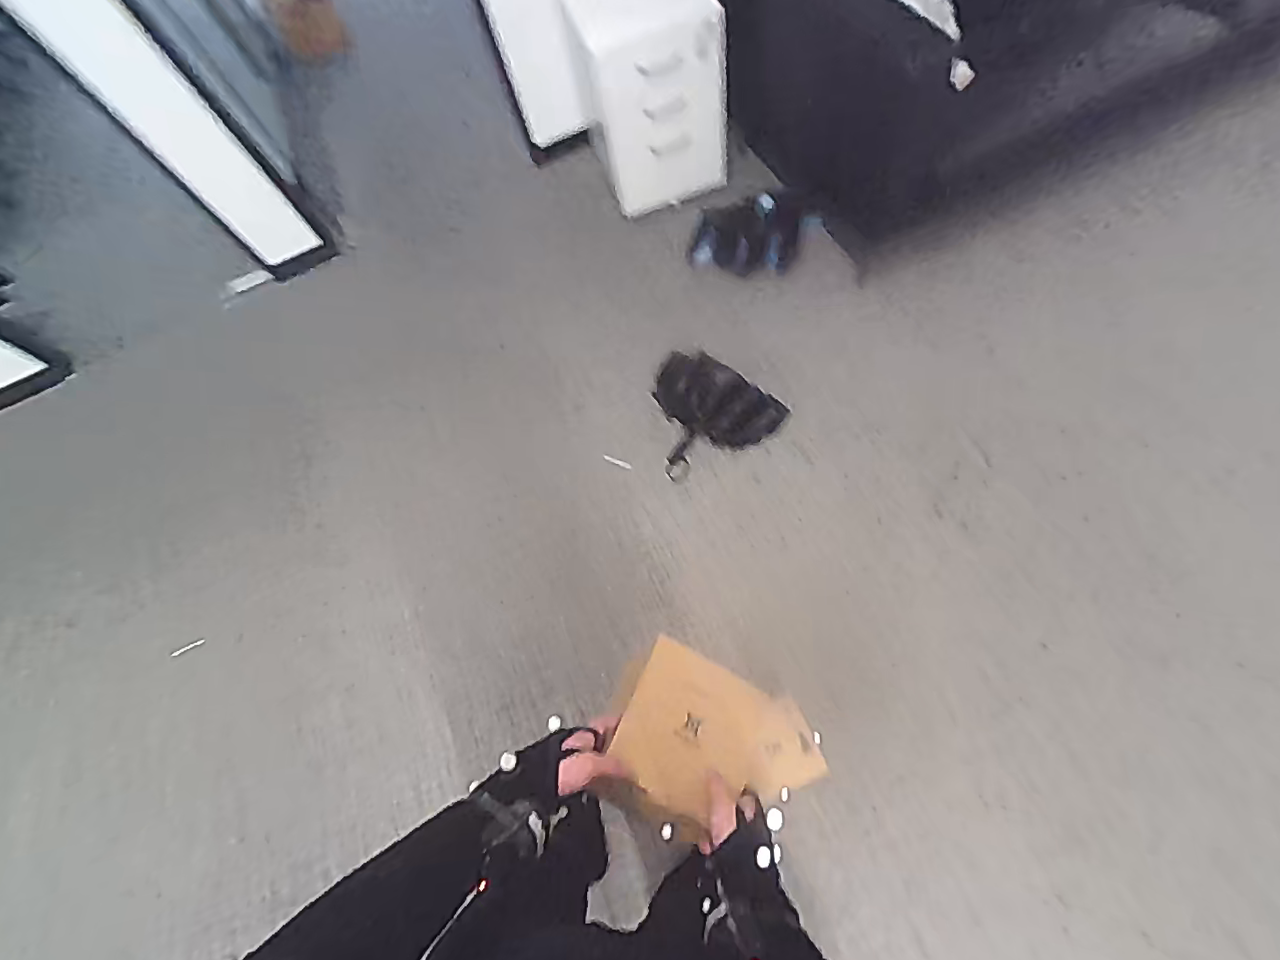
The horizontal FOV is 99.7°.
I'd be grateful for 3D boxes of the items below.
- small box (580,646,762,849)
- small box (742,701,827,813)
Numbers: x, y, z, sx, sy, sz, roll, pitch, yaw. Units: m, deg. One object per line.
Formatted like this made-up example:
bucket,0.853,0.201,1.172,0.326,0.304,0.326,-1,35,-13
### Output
small box,0.034,0.359,0.715,0.168,0.176,0.179,28,50,0
small box,0.293,0.617,1.209,0.179,0.176,0.168,-24,62,-1
